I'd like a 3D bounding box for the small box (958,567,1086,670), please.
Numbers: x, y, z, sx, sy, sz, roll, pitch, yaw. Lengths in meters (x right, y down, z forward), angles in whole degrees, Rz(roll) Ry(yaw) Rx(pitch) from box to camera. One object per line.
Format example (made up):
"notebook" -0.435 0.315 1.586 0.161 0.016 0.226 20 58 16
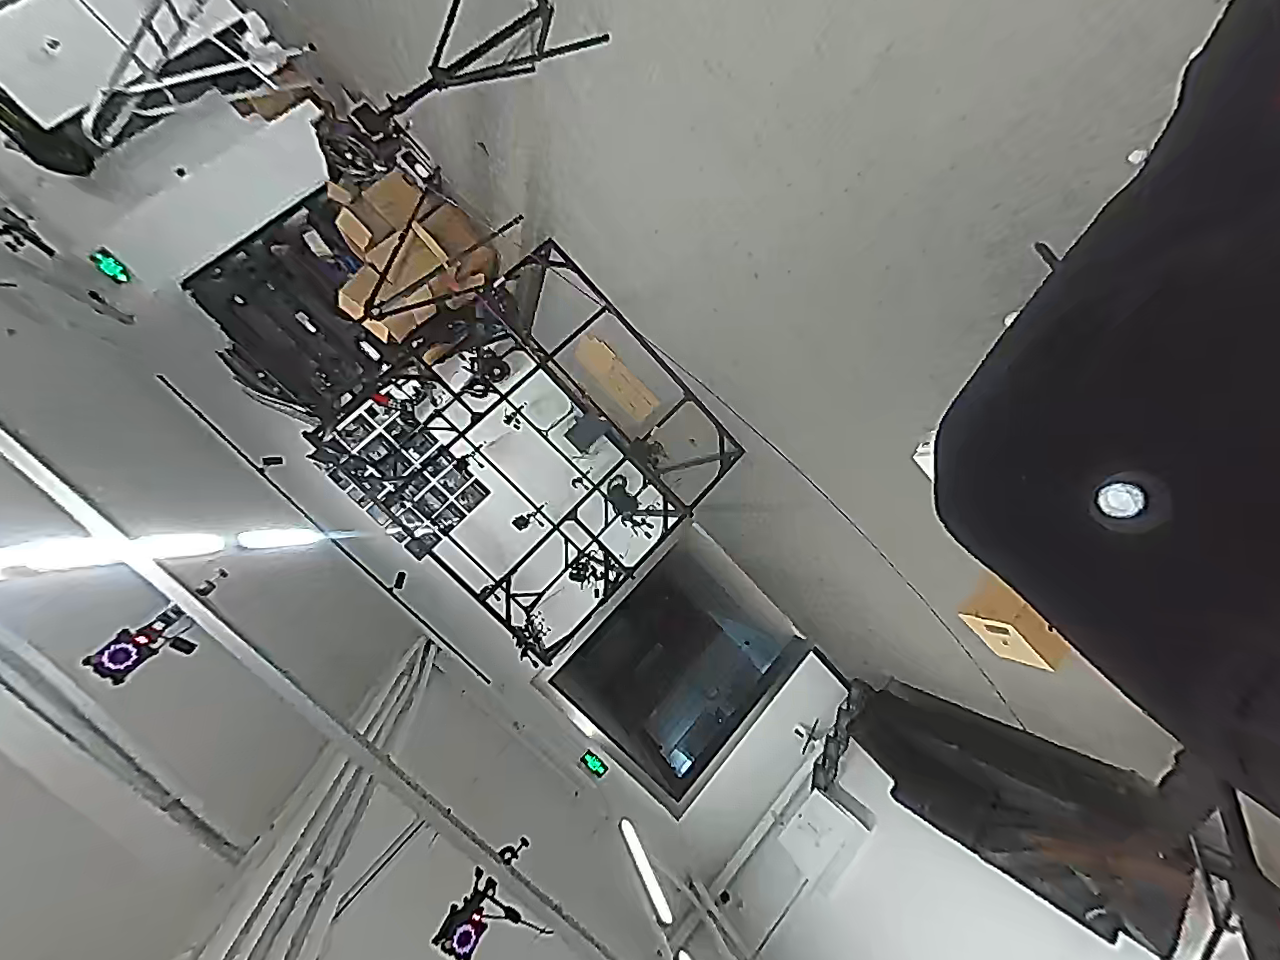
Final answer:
"small box" 0.967 0.342 1.373 0.179 0.176 0.168 44 168 -7
